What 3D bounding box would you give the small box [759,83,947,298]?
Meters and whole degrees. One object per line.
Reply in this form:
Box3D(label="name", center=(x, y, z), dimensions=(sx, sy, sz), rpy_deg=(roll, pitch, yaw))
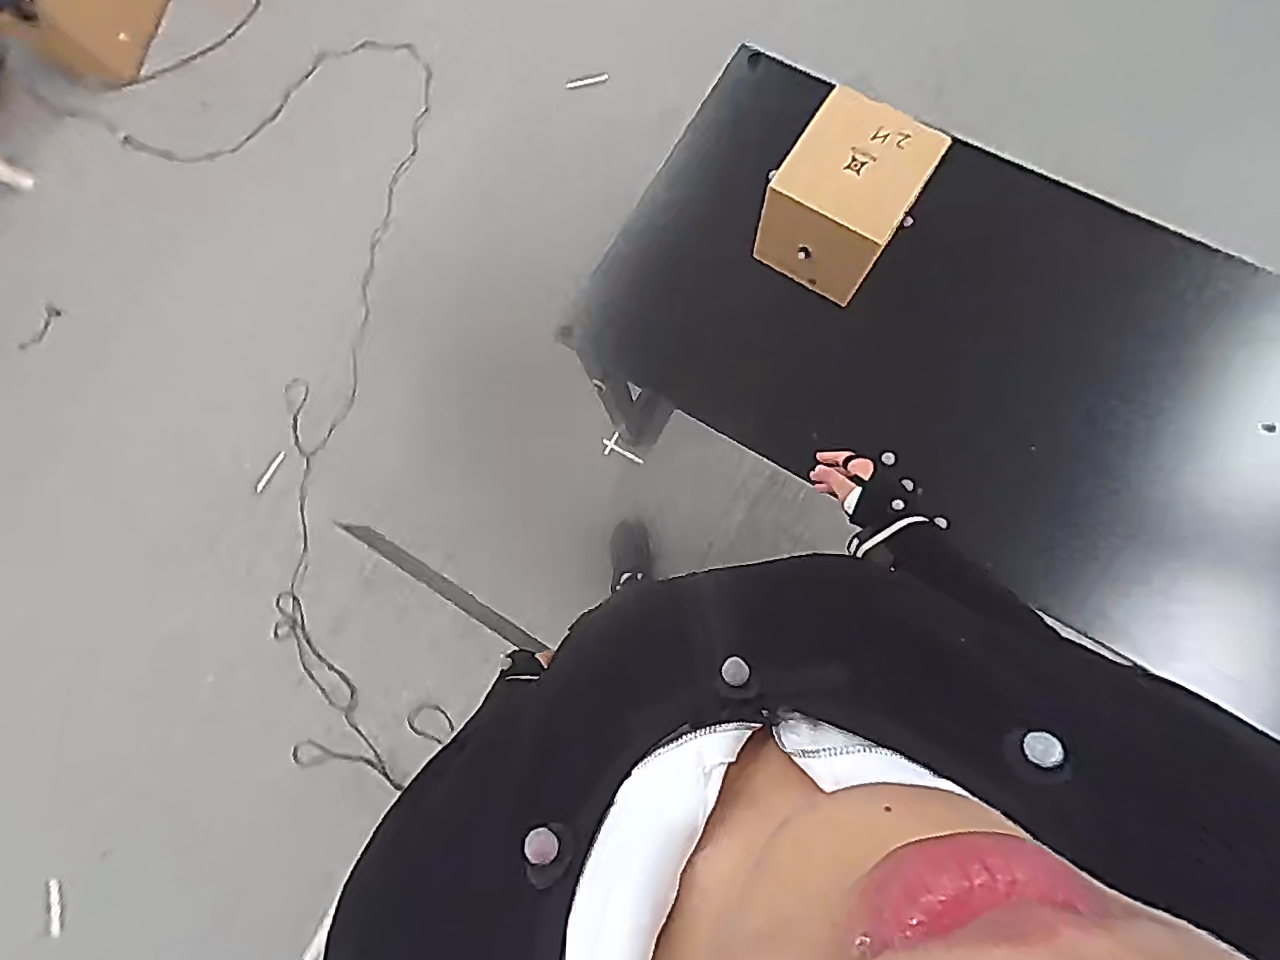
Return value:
Box3D(label="small box", center=(0.284, -0.395, 0.767), dimensions=(0.168, 0.176, 0.179), rpy_deg=(33, 85, 9))
